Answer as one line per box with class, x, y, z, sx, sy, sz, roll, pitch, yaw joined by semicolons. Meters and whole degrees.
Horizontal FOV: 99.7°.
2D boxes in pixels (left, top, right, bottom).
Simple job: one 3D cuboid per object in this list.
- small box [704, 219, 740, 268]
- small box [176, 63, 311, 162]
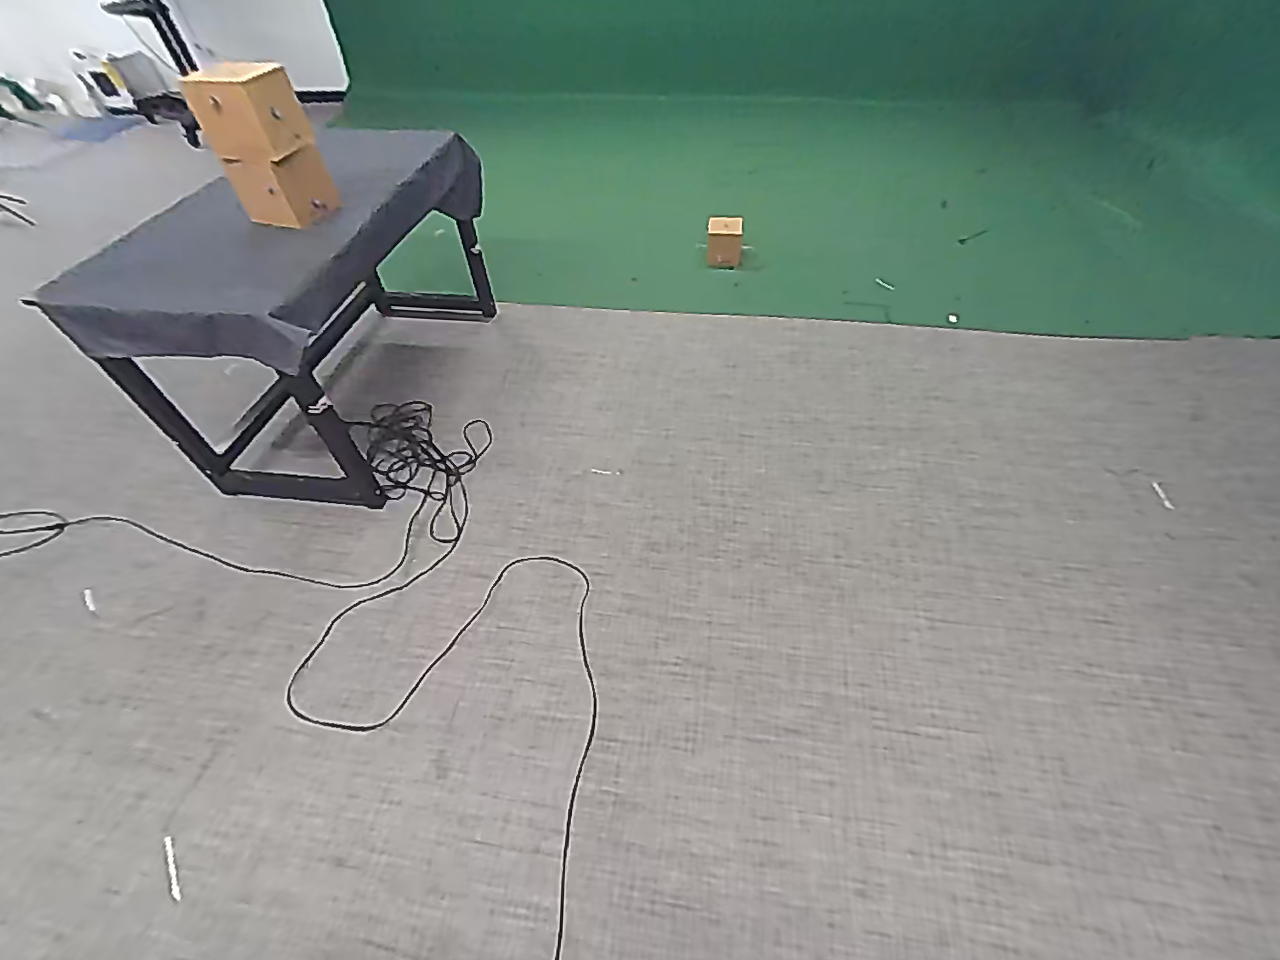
small box;0.409;-1.190;2.720;0.168;0.176;0.179;4;50;7
small box;-0.971;-0.911;1.346;0.179;0.176;0.168;7;50;8
